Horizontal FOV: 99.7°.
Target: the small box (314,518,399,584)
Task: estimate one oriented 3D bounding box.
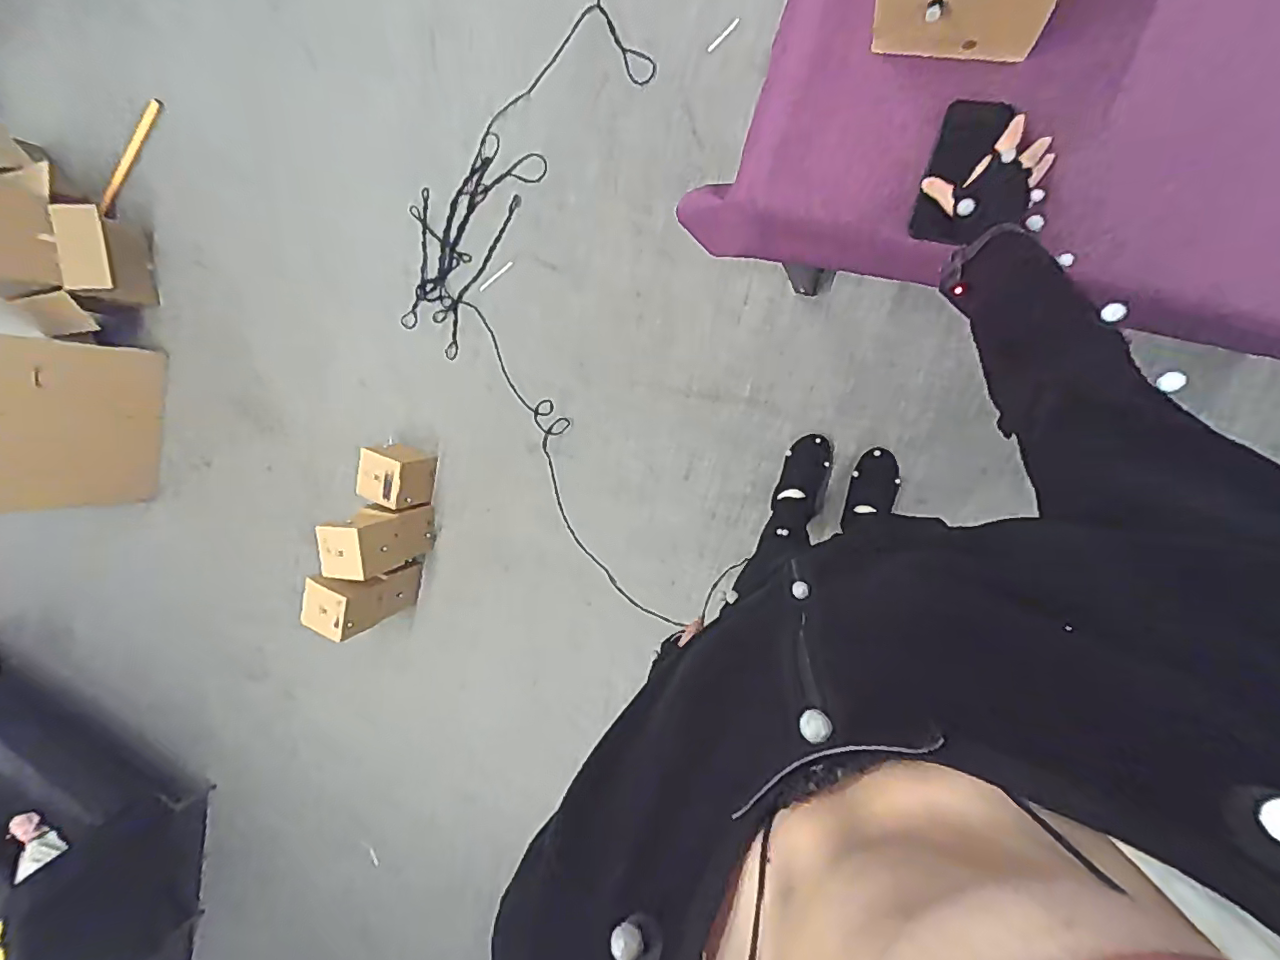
[{"bbox_3d":[-0.886,0.218,1.707,0.179,0.176,0.168,1,99,21],"label":"small box"}]

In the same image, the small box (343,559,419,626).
[{"bbox_3d":[-0.913,0.380,1.916,0.168,0.176,0.179,19,105,18],"label":"small box"}]

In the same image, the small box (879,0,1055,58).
[{"bbox_3d":[0.345,-0.556,0.529,0.168,0.176,0.179,18,103,18],"label":"small box"}]
